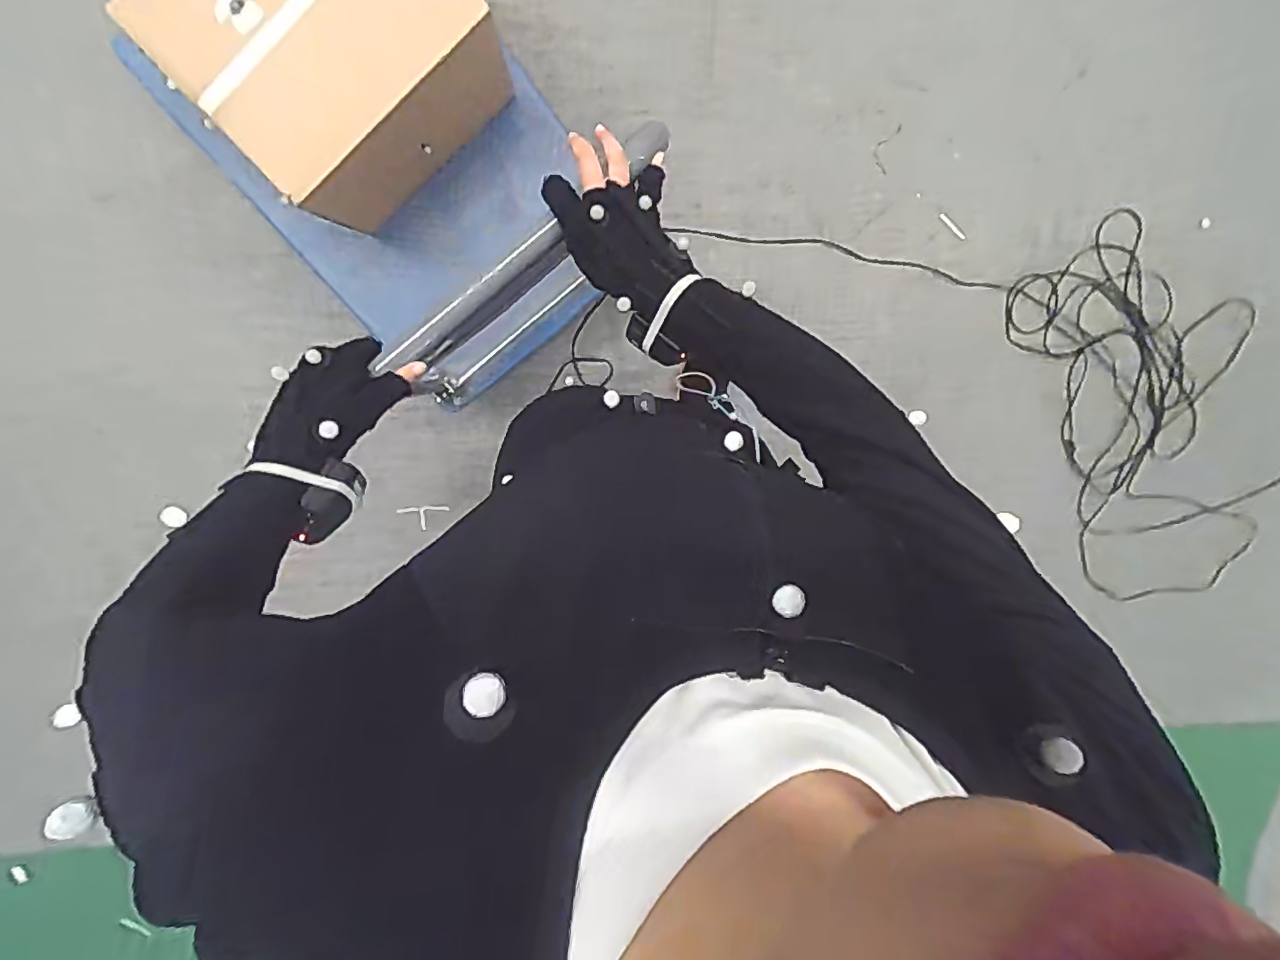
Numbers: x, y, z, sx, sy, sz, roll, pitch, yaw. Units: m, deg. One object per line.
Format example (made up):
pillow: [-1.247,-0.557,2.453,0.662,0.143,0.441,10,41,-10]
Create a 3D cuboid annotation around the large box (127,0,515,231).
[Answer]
large box: [-0.469,-0.693,0.894,0.408,0.320,0.320,-40,106,7]
